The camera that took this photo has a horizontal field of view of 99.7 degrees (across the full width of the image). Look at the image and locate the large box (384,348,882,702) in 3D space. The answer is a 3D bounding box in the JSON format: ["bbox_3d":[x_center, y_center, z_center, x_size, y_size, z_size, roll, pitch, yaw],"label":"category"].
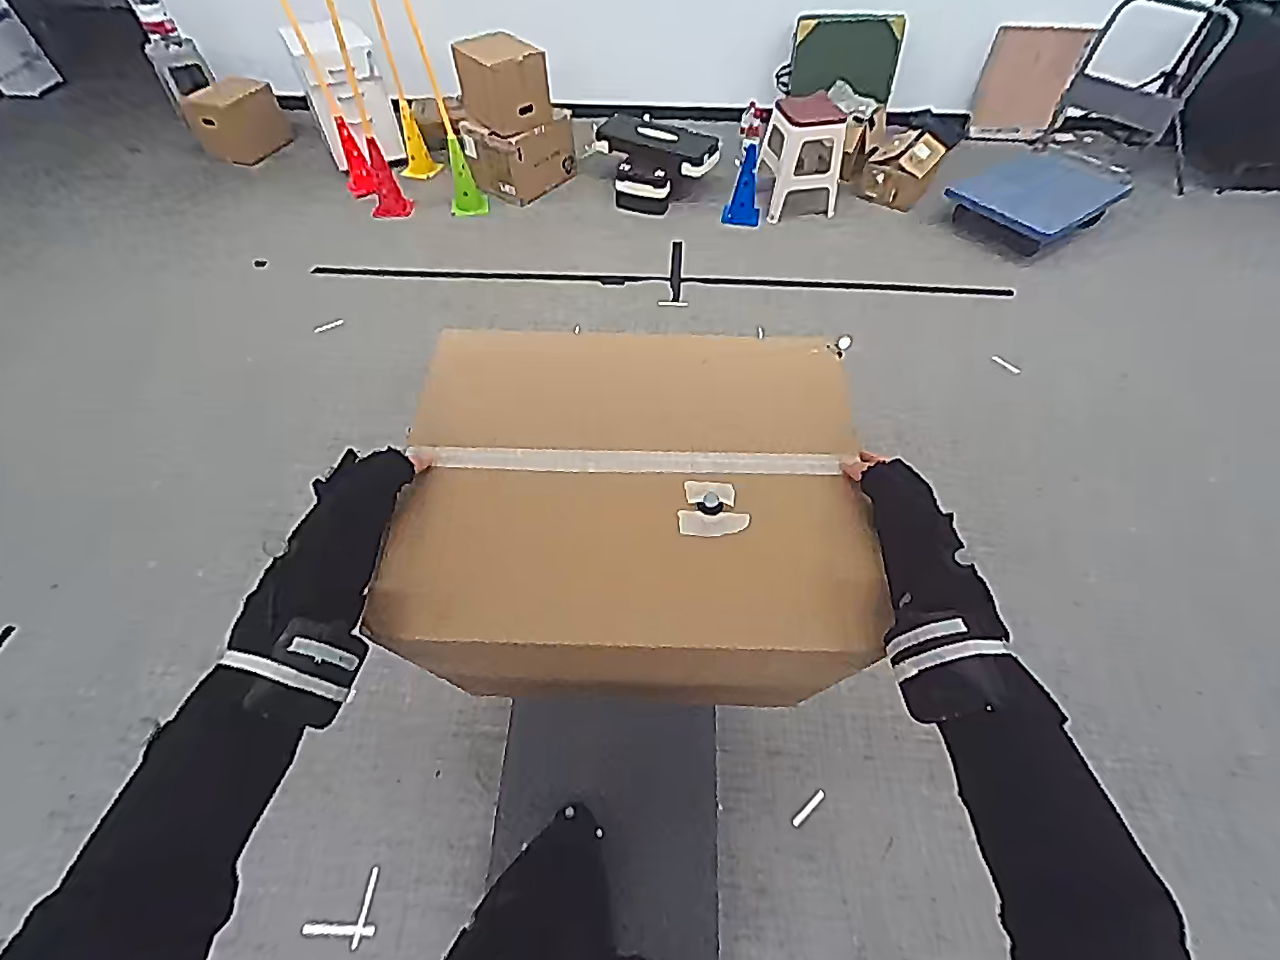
[{"bbox_3d":[-0.006,0.069,0.627,0.408,0.320,0.320,2,60,0],"label":"large box"}]
